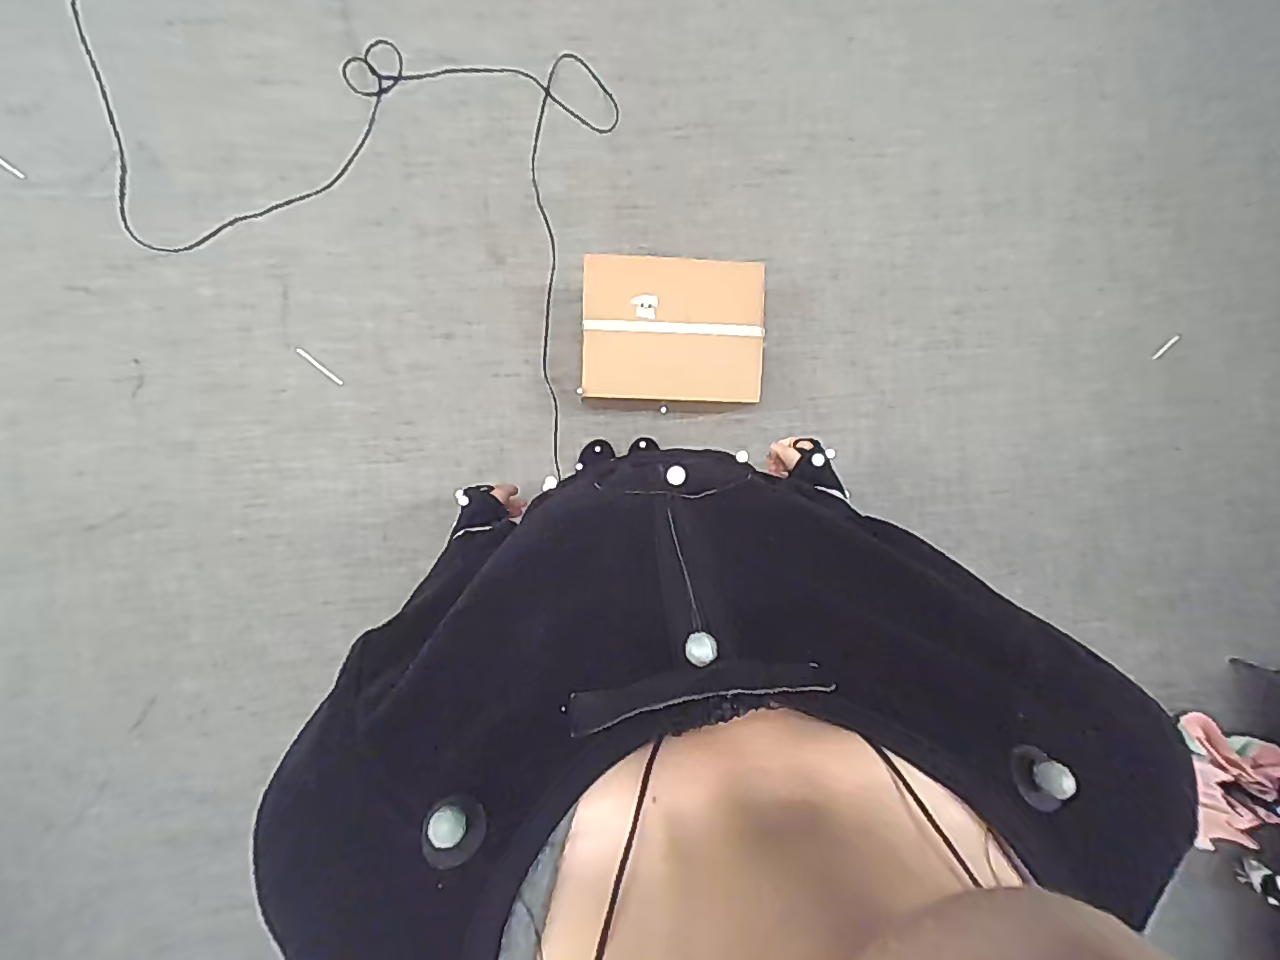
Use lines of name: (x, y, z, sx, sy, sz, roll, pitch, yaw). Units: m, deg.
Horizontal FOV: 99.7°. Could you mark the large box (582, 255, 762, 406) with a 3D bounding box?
large box: (0.066, -0.349, 1.352, 0.408, 0.320, 0.320, 2, 93, -4)
